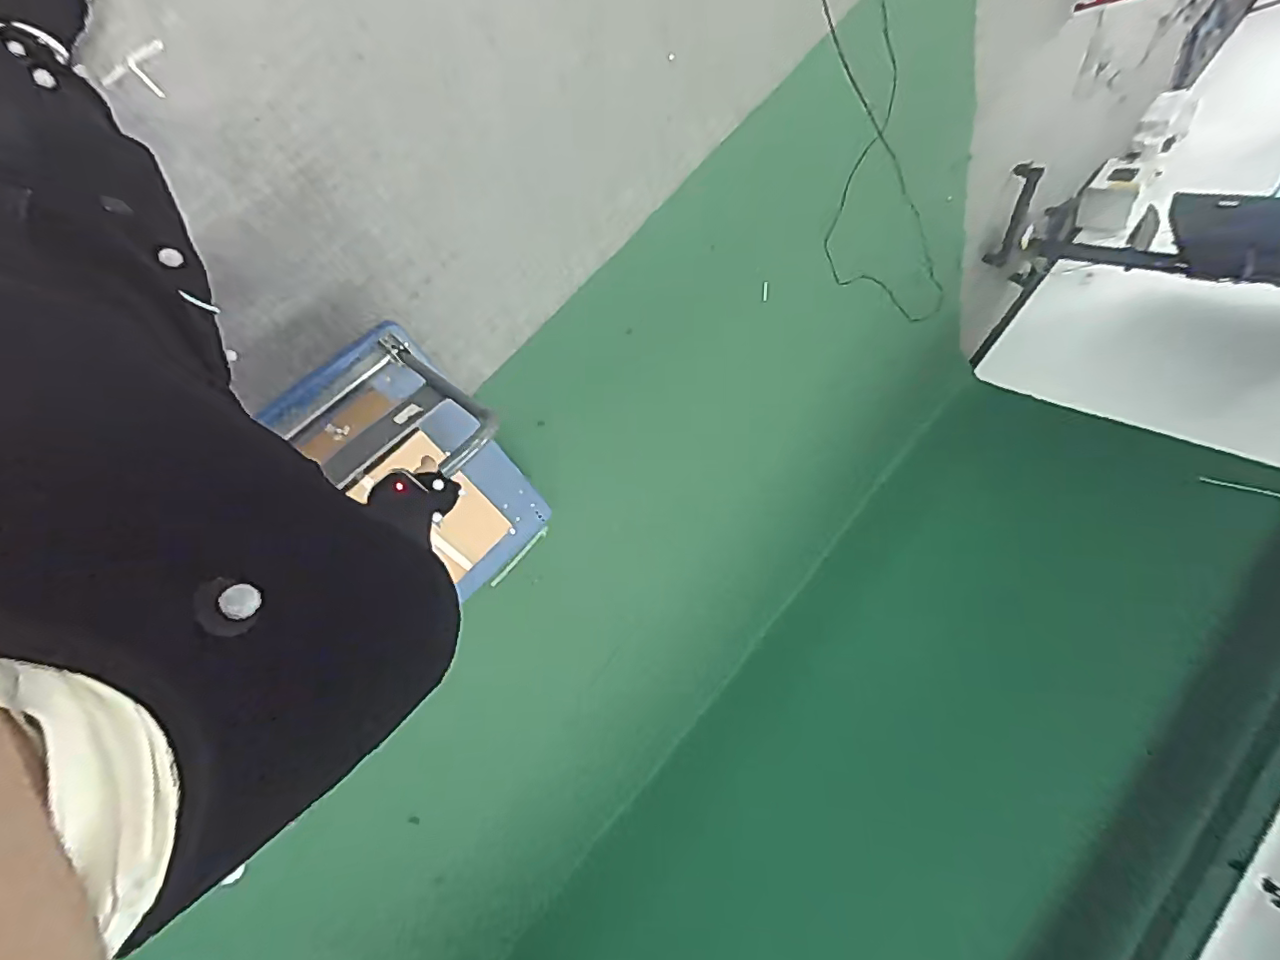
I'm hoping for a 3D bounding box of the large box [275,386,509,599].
[{"bbox_3d":[-0.628,0.032,1.398,0.320,0.320,0.408,-45,138,-13],"label":"large box"}]
